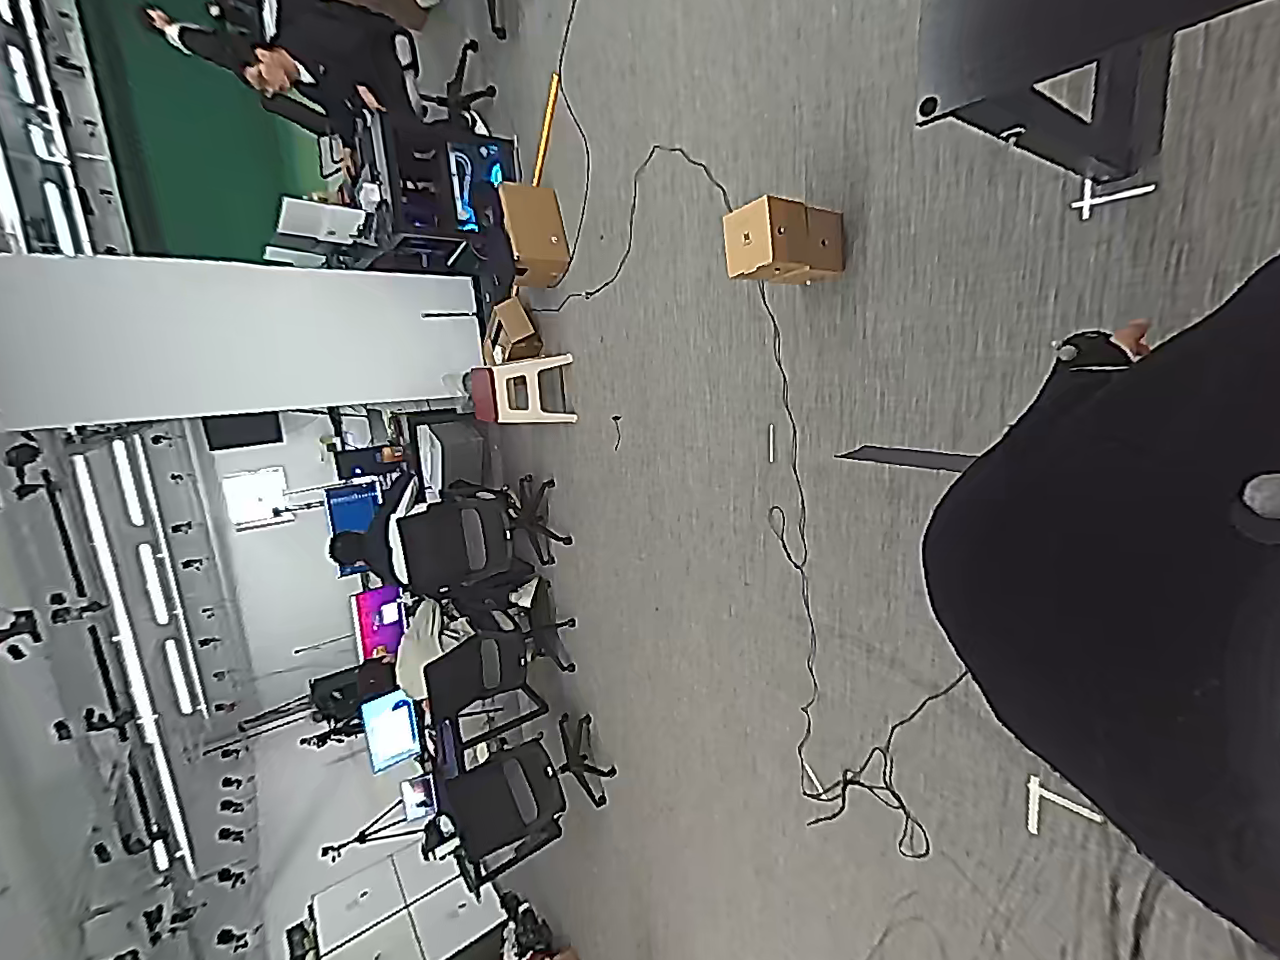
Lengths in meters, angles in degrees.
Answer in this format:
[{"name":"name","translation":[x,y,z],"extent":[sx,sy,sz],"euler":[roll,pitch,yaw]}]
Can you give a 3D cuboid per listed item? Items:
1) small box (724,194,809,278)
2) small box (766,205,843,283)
[{"name":"small box","translation":[0.364,-0.684,1.541],"extent":[0.168,0.176,0.179],"euler":[2,100,53]},{"name":"small box","translation":[0.496,-0.705,1.634],"extent":[0.168,0.176,0.179],"euler":[7,106,54]}]
